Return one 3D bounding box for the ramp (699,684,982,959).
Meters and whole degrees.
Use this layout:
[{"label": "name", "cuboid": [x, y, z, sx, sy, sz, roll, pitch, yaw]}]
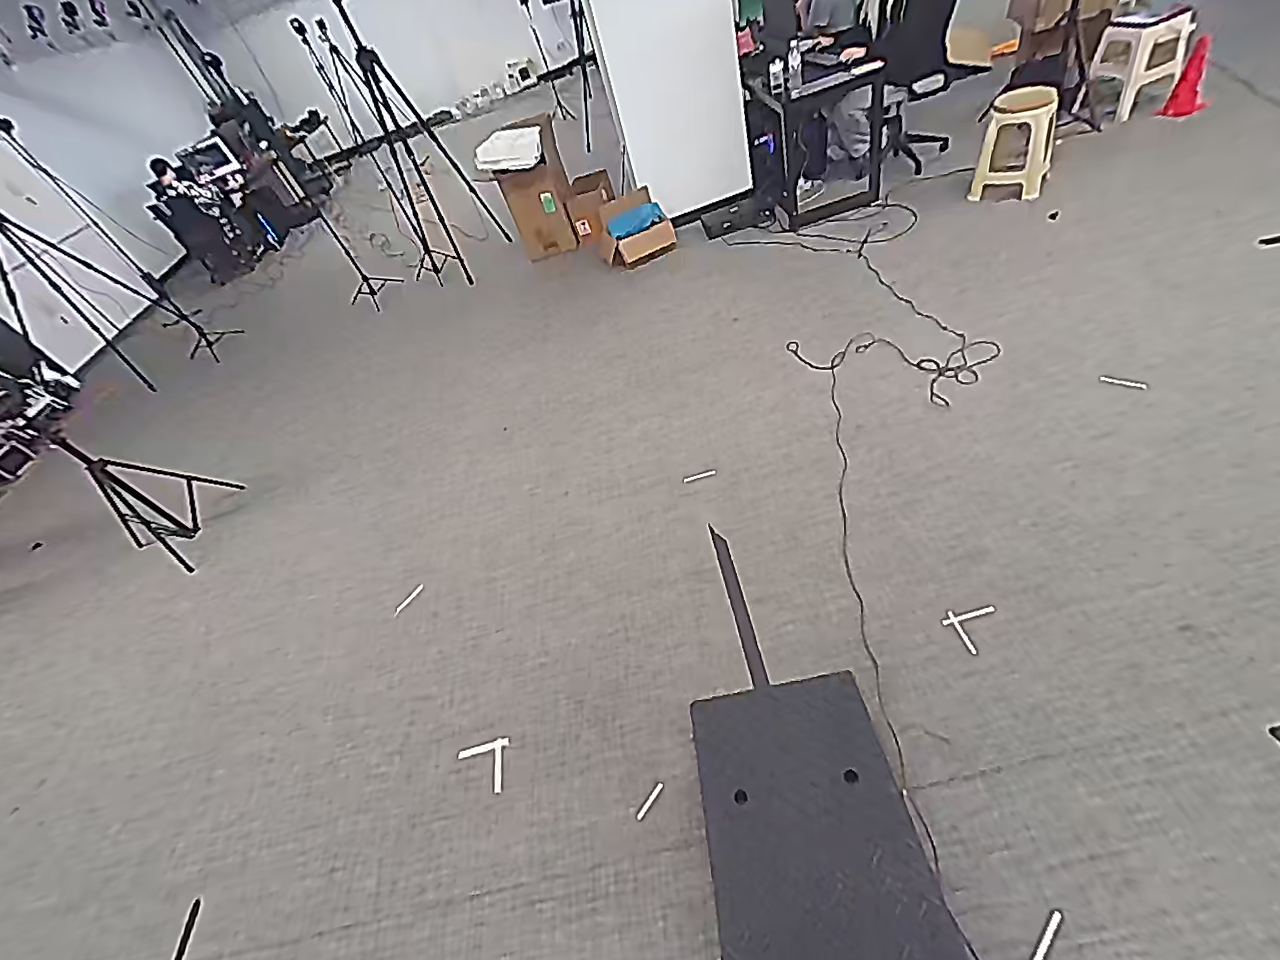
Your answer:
[{"label": "ramp", "cuboid": [0.433, 0.940, 1.202, 0.509, 0.206, 0.991, -19, 42, 6]}]
